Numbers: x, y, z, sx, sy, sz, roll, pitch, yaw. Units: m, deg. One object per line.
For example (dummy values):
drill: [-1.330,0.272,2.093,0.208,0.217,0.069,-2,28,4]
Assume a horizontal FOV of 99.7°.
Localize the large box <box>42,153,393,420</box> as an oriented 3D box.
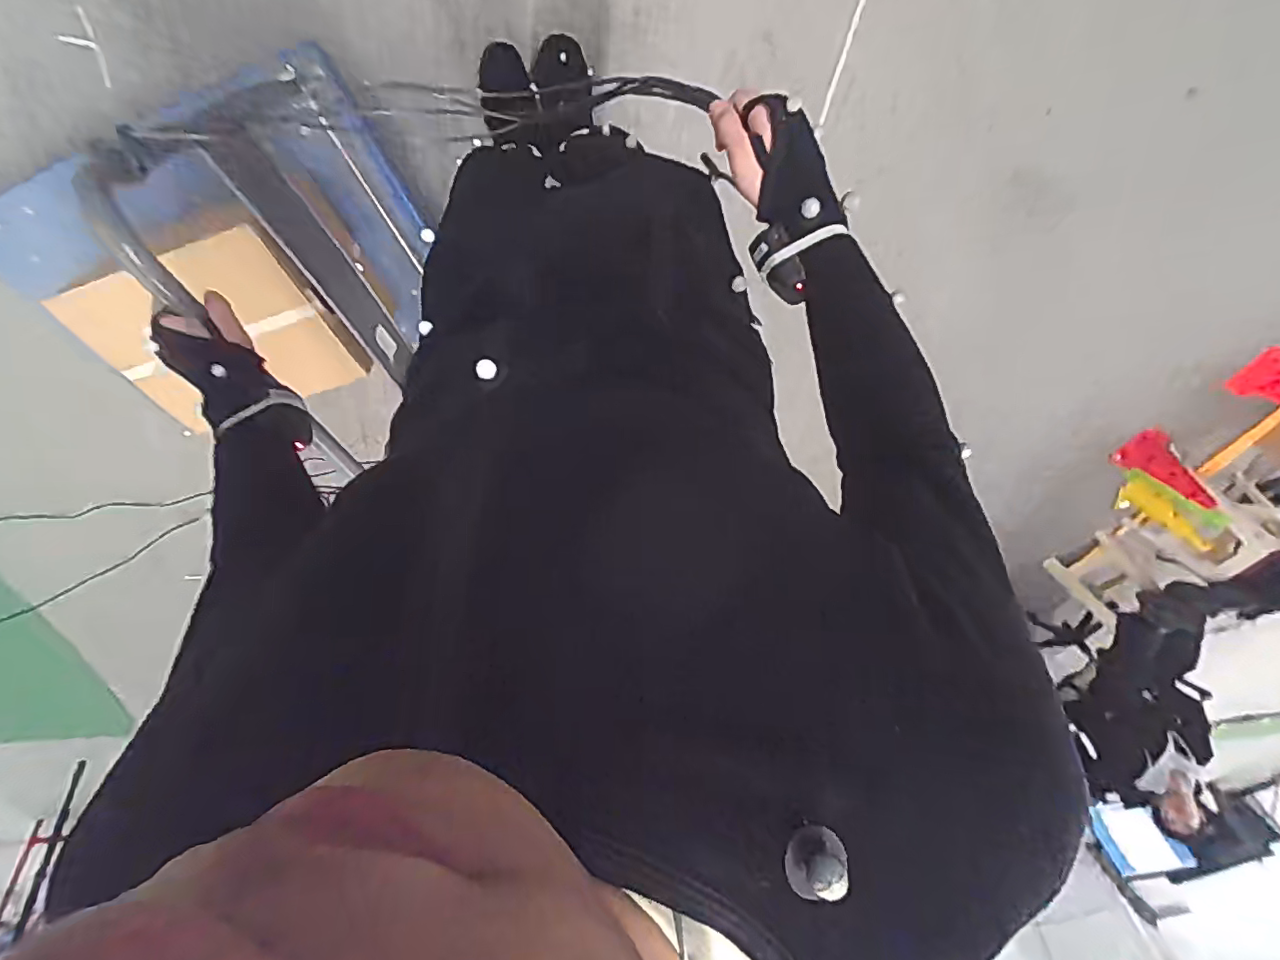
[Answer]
large box: [-0.783,-0.382,1.080,0.408,0.320,0.320,-16,135,7]
